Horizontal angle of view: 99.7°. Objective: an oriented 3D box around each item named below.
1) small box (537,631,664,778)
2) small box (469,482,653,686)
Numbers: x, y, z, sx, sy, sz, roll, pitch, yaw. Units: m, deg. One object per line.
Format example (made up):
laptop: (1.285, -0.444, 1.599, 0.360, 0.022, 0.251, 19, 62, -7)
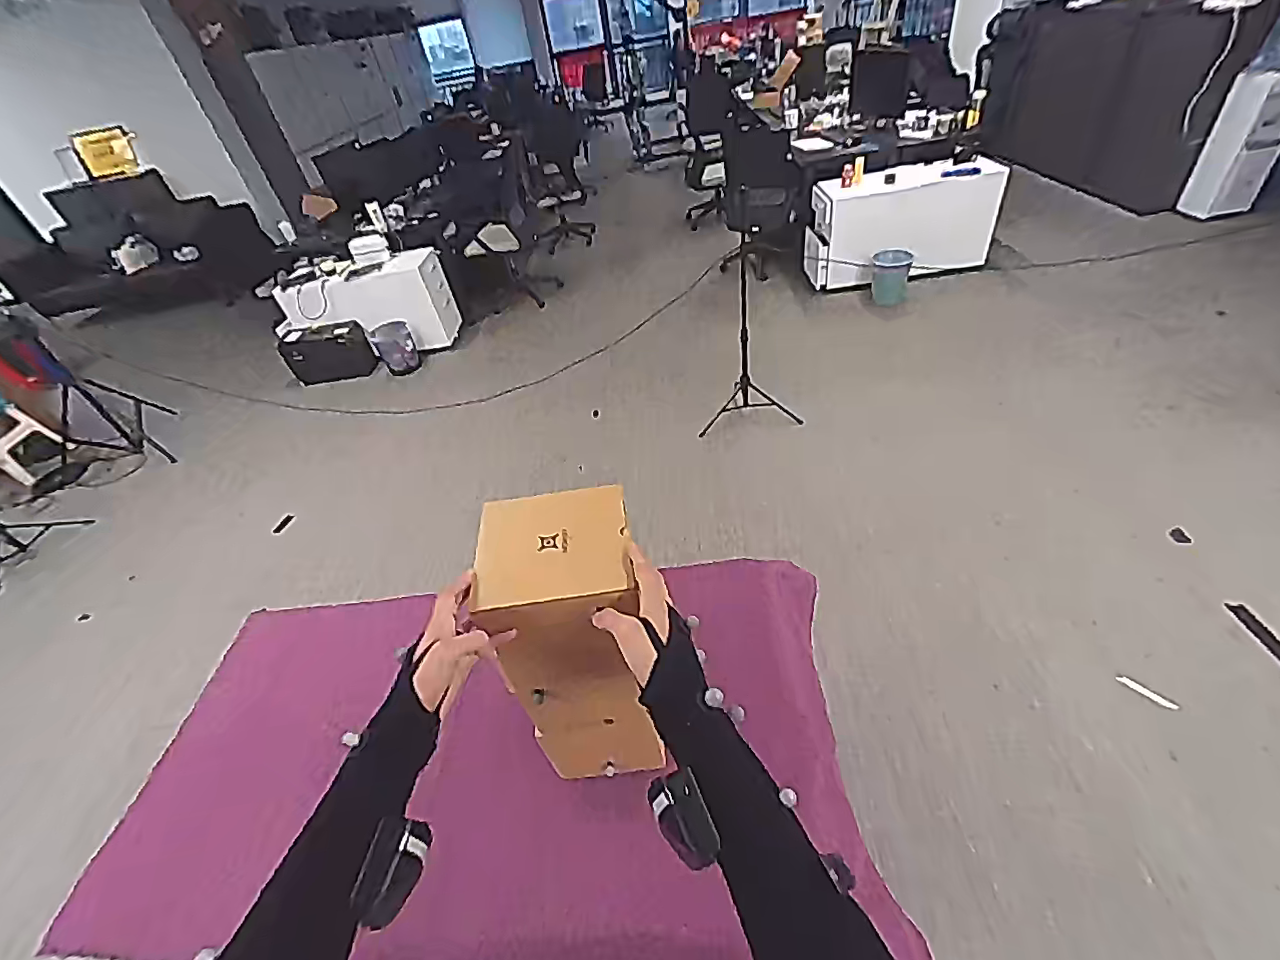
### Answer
small box: (-0.056, 0.363, 0.883, 0.179, 0.176, 0.168, -8, 40, 3)
small box: (-0.086, 0.127, 0.652, 0.179, 0.176, 0.168, -8, 41, -1)
